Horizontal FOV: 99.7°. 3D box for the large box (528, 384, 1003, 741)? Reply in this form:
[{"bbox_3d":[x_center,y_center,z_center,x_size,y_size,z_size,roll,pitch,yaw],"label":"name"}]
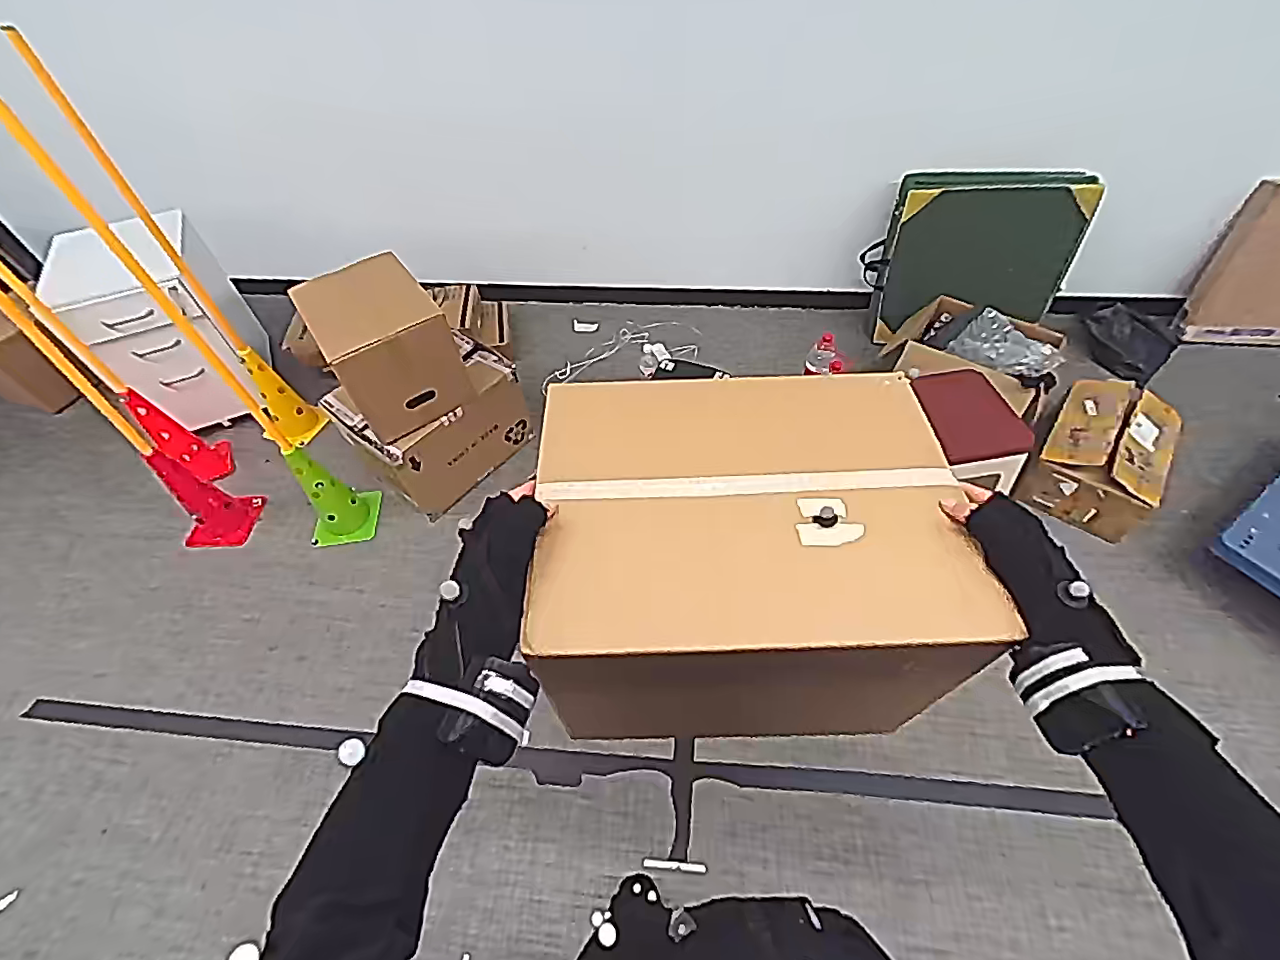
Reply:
[{"bbox_3d":[0.101,0.107,0.651,0.408,0.320,0.320,-2,52,0],"label":"large box"}]
